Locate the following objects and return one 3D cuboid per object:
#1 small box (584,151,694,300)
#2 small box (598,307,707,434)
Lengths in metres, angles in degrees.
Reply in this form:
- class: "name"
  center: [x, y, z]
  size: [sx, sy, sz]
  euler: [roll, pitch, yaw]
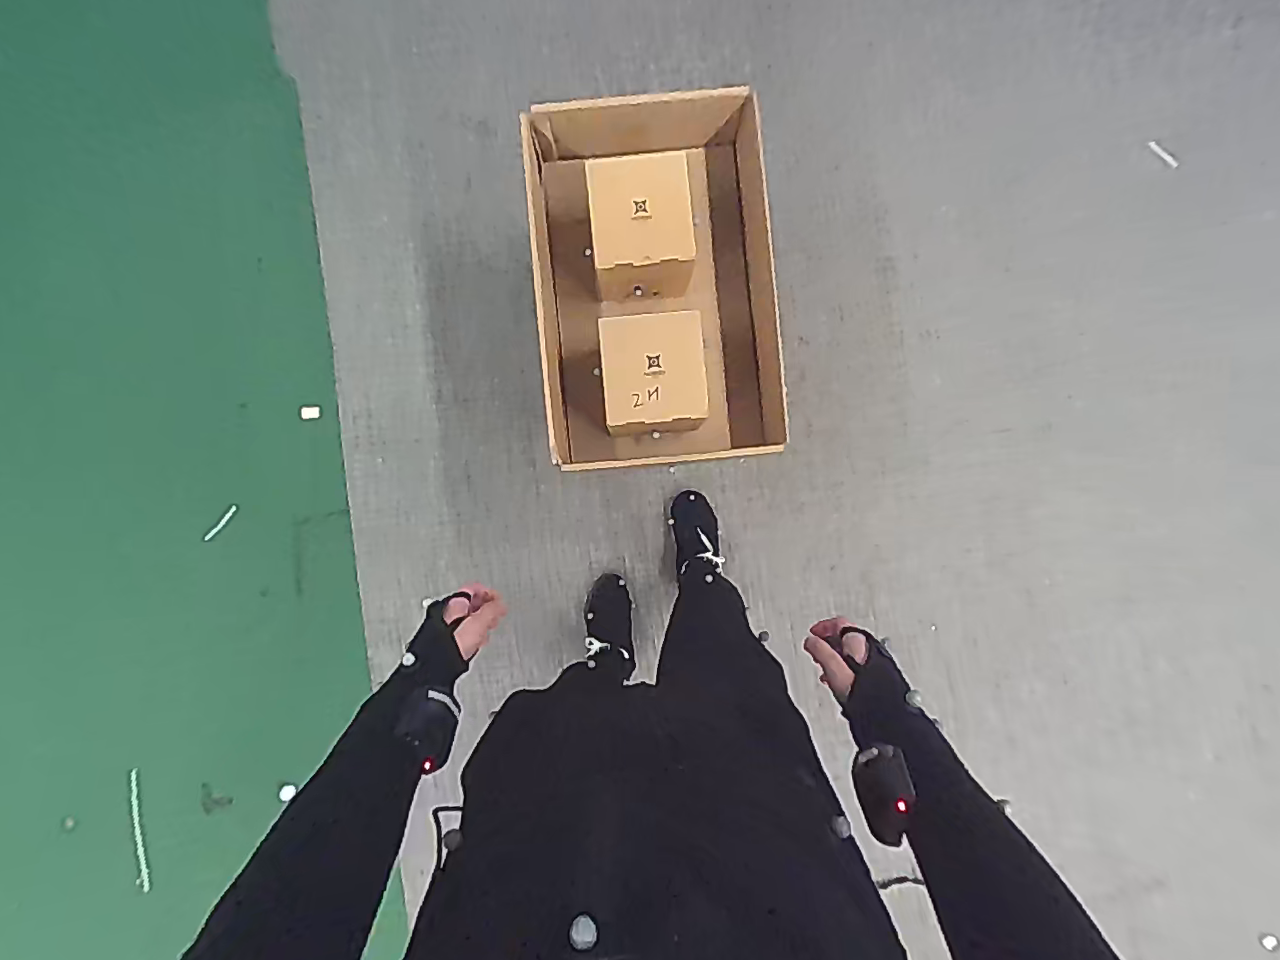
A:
- class: "small box"
  center: [-0.004, -0.436, 0.947]
  size: [0.168, 0.176, 0.179]
  euler: [-7, 90, 0]
- class: "small box"
  center: [0.019, -0.181, 0.937]
  size: [0.168, 0.176, 0.179]
  euler: [-5, 88, 0]
